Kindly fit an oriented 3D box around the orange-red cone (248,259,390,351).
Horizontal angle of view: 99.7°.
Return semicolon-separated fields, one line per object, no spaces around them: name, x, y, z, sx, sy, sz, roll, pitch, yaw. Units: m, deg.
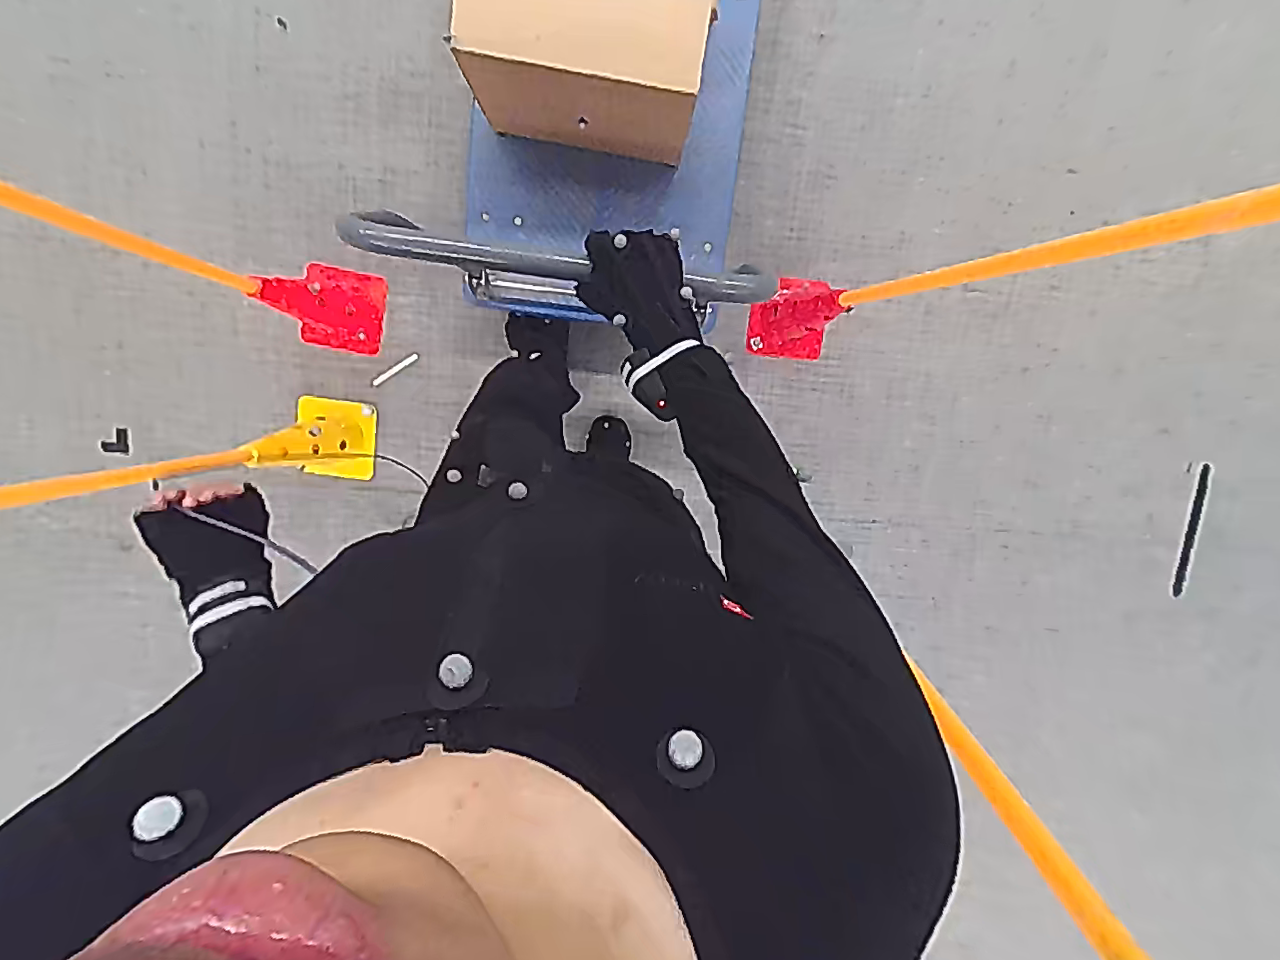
orange-red cone;-0.735;-0.413;1.197;0.198;0.360;0.199;12;98;-5

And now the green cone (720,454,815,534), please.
green cone;0.336;0.067;1.312;0.202;0.368;0.200;8;100;-4

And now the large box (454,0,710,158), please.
large box;-0.083;-0.835;0.991;0.408;0.320;0.320;8;101;-3

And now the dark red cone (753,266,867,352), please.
dark red cone;0.399;-0.403;1.211;0.201;0.394;0.202;4;100;-4
